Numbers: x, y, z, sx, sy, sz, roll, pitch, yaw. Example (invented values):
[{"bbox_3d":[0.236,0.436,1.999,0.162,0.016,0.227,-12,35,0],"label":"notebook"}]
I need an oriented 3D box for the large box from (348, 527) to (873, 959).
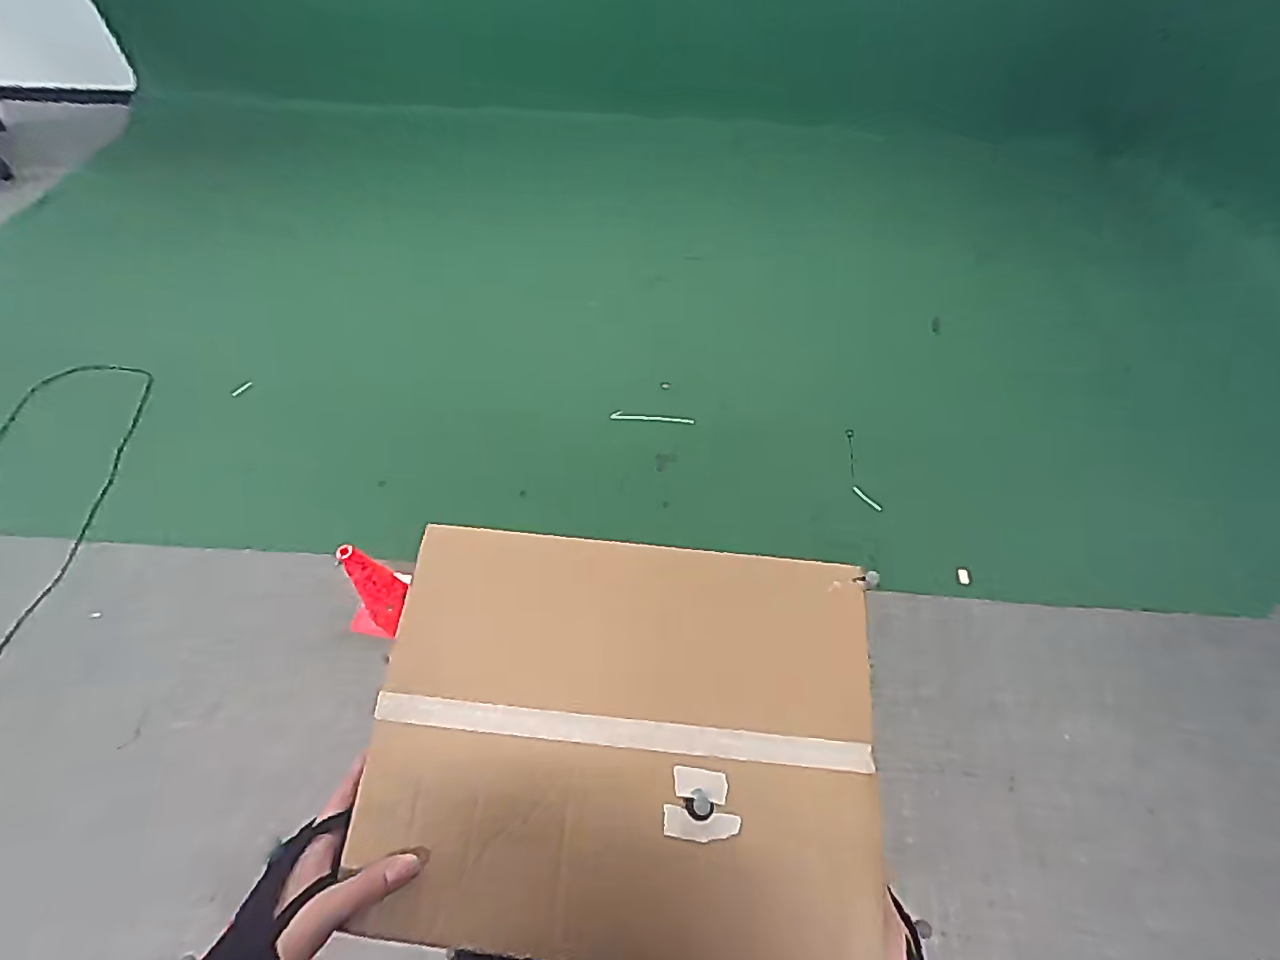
[{"bbox_3d":[-0.014,0.257,0.595,0.408,0.320,0.320,5,69,2],"label":"large box"}]

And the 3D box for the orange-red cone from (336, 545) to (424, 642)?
[{"bbox_3d":[-0.742,0.281,1.489,0.199,0.360,0.198,9,55,7],"label":"orange-red cone"}]
